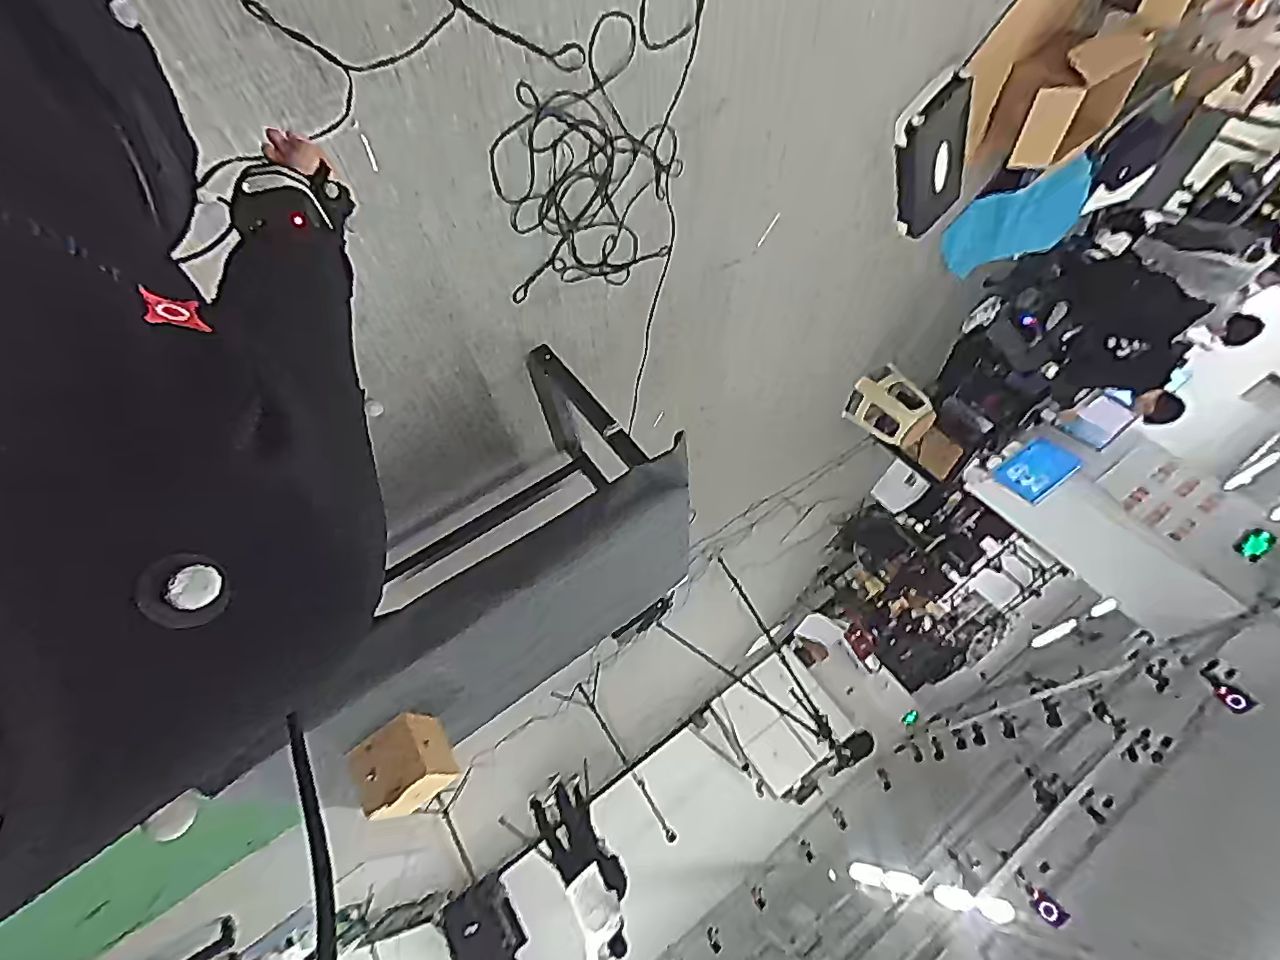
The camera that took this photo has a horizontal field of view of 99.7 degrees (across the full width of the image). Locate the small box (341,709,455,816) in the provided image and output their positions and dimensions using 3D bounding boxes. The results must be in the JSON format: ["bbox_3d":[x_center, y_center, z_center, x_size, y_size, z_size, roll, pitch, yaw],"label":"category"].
[{"bbox_3d":[-0.598,0.689,1.334,0.168,0.176,0.179,-35,153,-9],"label":"small box"}]
